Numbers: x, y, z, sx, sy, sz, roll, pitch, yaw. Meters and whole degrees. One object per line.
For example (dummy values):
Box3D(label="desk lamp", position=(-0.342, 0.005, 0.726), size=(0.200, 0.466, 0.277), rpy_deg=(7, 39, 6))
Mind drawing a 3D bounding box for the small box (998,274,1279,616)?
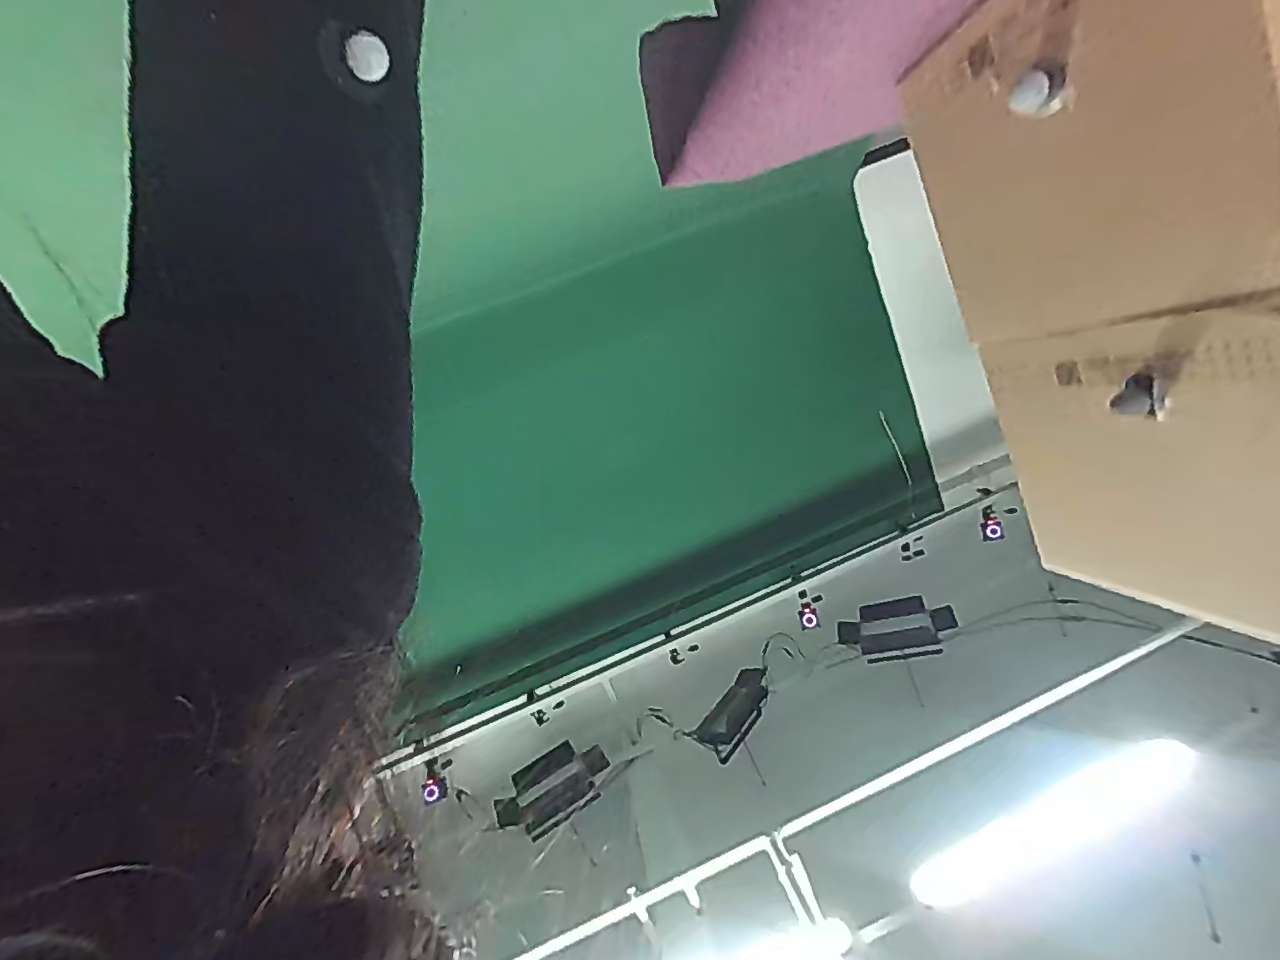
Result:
Box3D(label="small box", position=(0.344, -0.049, 0.287), size=(0.179, 0.176, 0.168), rpy_deg=(-24, -172, -4))

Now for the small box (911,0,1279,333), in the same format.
Box3D(label="small box", position=(0.278, -0.196, 0.267), size=(0.179, 0.176, 0.168), rpy_deg=(-24, -171, -7))
